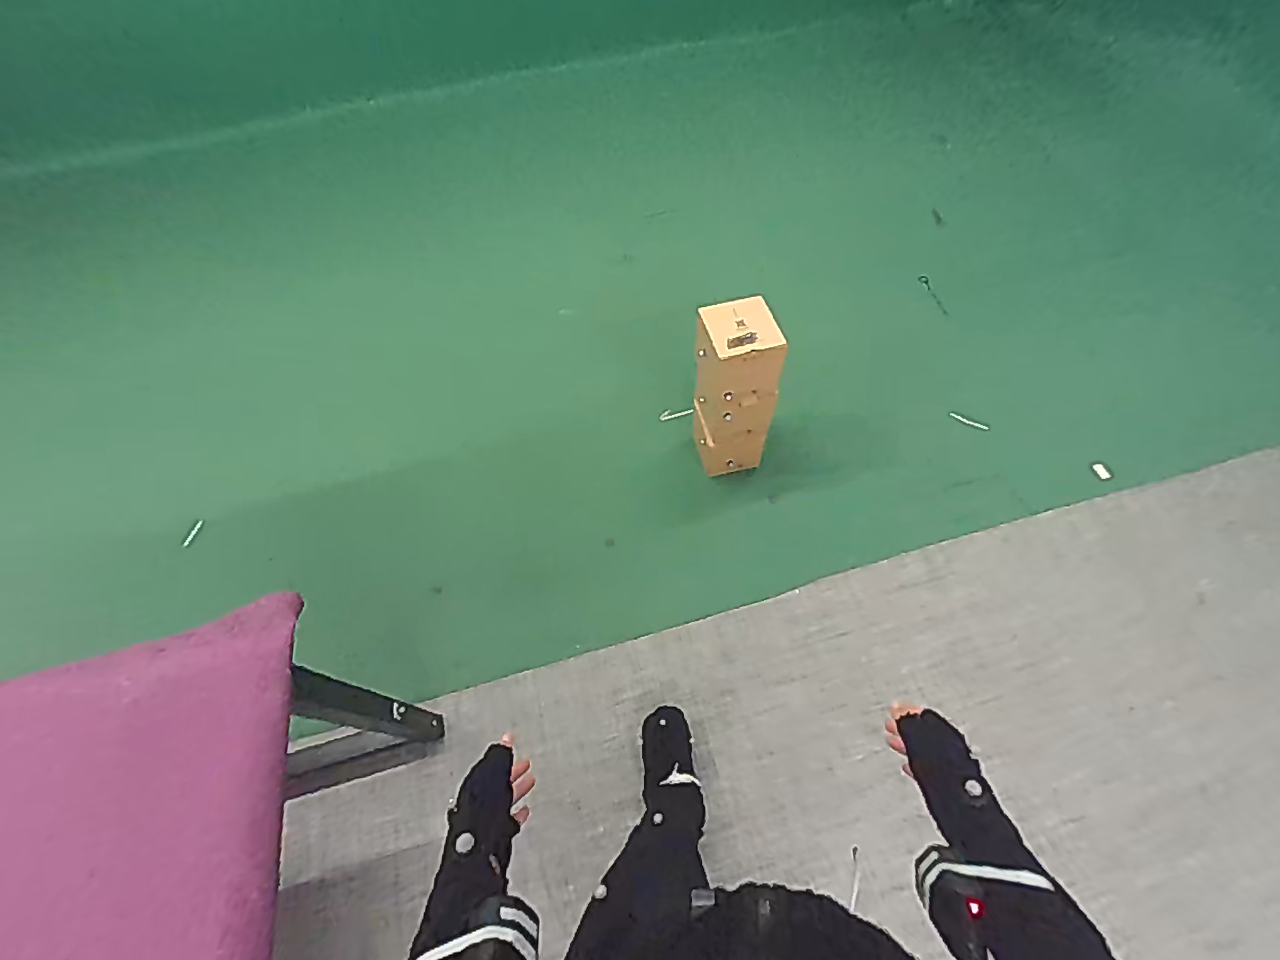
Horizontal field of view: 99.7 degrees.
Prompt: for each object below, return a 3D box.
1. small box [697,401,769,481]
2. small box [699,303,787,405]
[{"bbox_3d":[0.270,-0.122,1.622,0.168,0.176,0.179,-13,59,-4],"label":"small box"},{"bbox_3d":[0.249,-0.304,1.348,0.168,0.176,0.179,-13,58,-5],"label":"small box"}]
